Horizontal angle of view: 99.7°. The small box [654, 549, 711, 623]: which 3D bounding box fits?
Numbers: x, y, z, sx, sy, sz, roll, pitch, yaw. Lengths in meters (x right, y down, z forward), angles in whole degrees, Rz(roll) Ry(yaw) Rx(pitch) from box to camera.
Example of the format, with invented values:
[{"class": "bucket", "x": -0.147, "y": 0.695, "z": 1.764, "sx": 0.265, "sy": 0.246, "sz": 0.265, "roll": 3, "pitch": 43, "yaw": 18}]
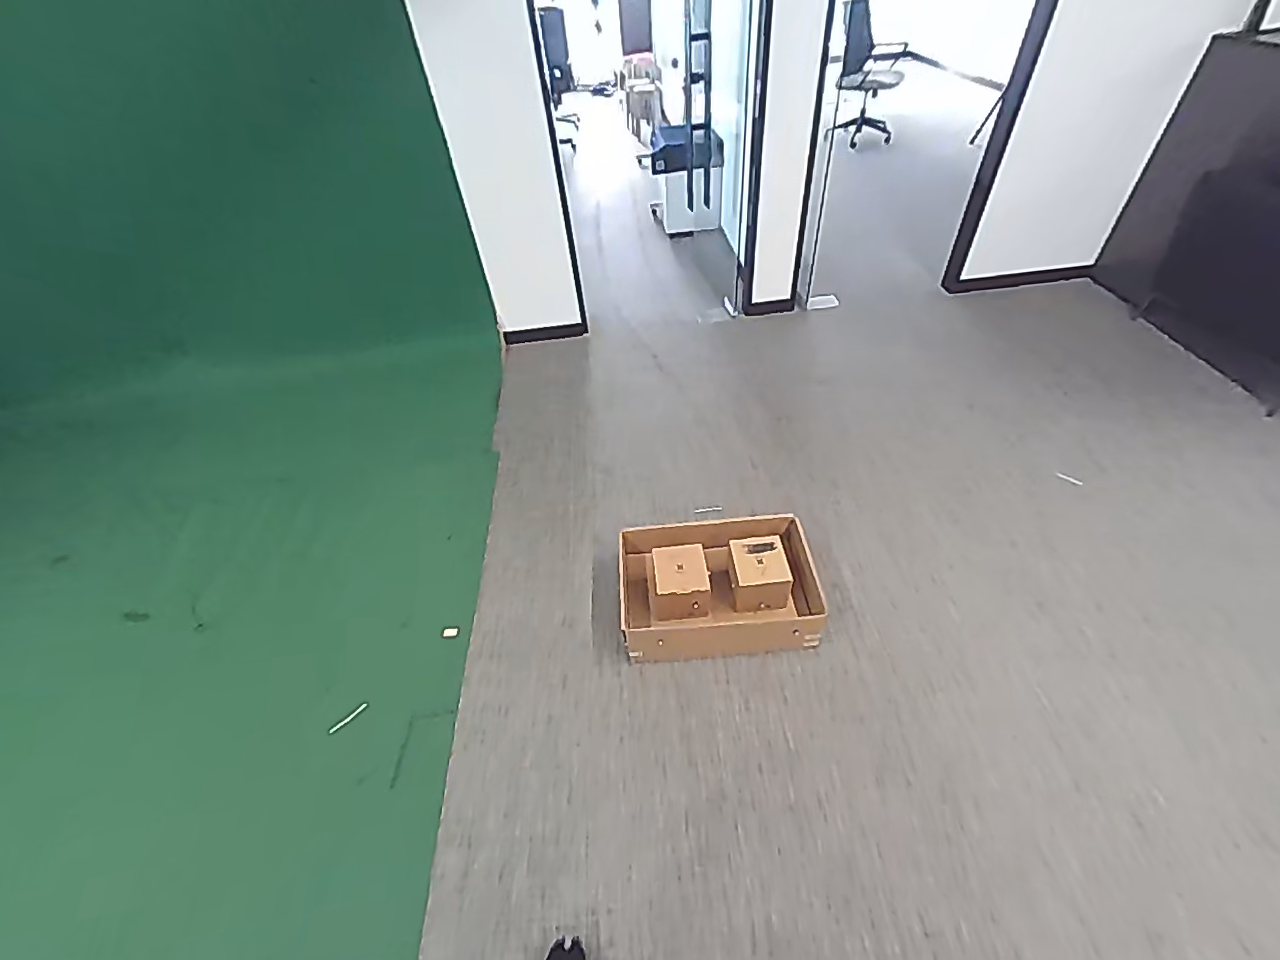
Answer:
[{"class": "small box", "x": 0.135, "y": 0.348, "z": 1.747, "sx": 0.168, "sy": 0.176, "sz": 0.179, "roll": -5, "pitch": 45, "yaw": -1}]
